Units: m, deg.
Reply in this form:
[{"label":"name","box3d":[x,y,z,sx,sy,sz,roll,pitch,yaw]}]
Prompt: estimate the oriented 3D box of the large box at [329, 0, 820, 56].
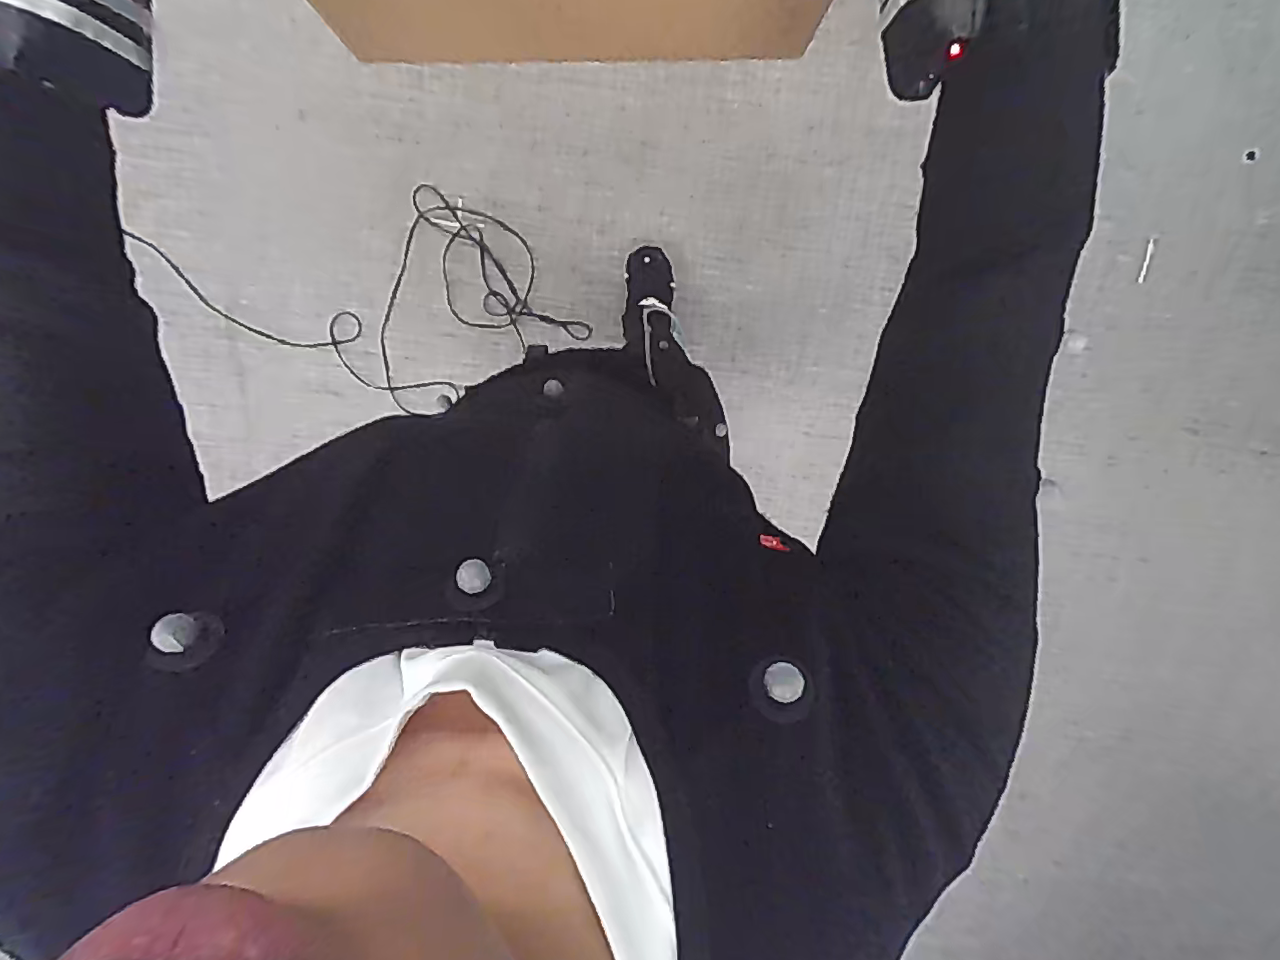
[{"label":"large box","box3d":[-0.050,-0.512,0.319,0.408,0.320,0.320,-2,102,-2]}]
